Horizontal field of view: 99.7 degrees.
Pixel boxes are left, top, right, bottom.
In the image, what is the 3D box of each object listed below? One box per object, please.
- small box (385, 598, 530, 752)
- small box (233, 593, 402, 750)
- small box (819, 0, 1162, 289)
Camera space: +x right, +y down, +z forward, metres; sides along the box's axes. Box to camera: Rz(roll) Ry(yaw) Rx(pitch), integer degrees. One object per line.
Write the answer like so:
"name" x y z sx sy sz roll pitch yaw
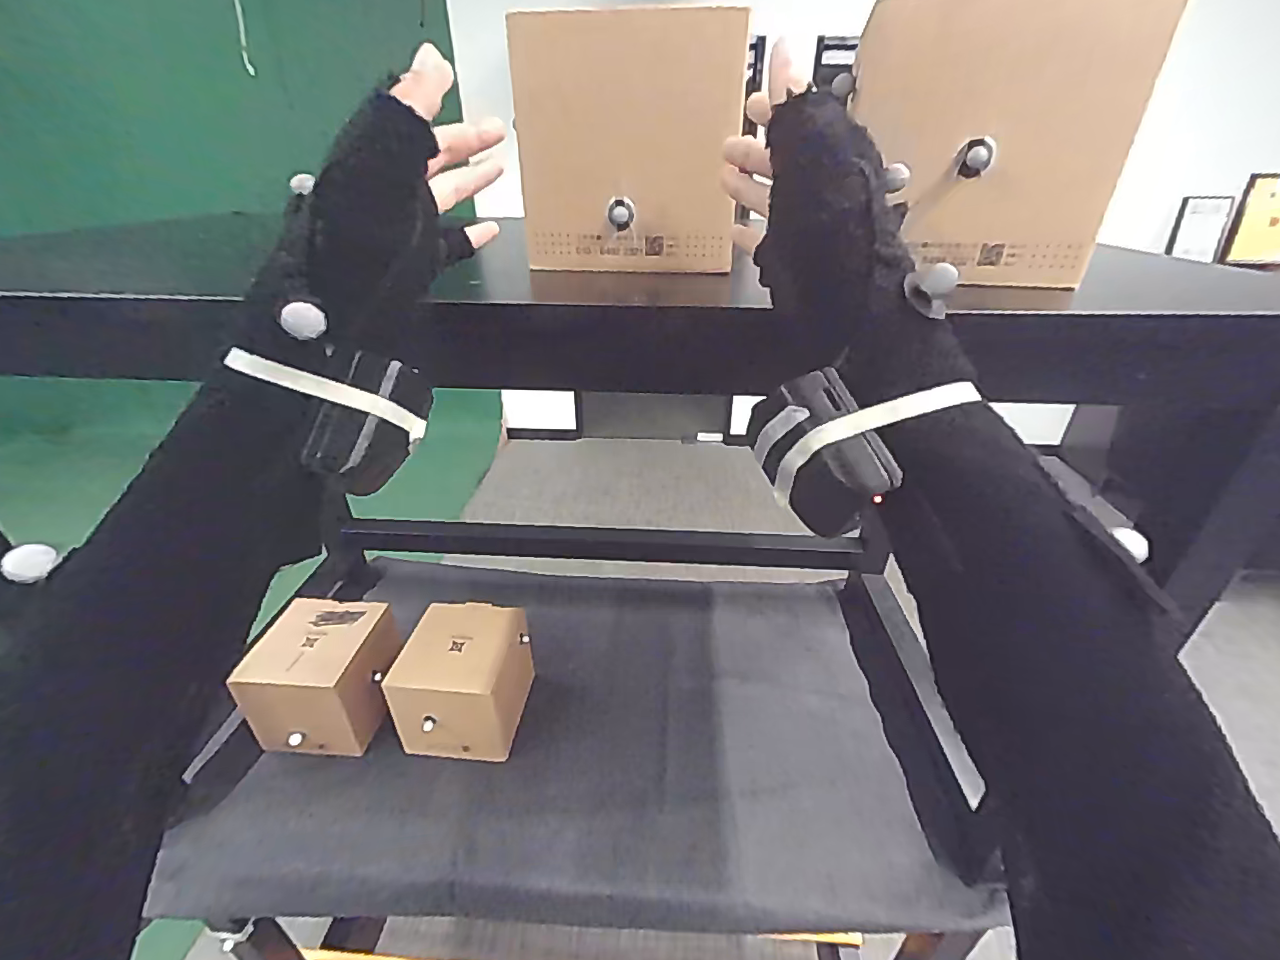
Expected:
"small box" -0.285 0.320 0.894 0.168 0.176 0.179 3 30 4
"small box" -0.513 0.313 0.898 0.168 0.176 0.179 2 31 3
"small box" 0.244 -0.256 0.433 0.168 0.176 0.179 8 31 13
